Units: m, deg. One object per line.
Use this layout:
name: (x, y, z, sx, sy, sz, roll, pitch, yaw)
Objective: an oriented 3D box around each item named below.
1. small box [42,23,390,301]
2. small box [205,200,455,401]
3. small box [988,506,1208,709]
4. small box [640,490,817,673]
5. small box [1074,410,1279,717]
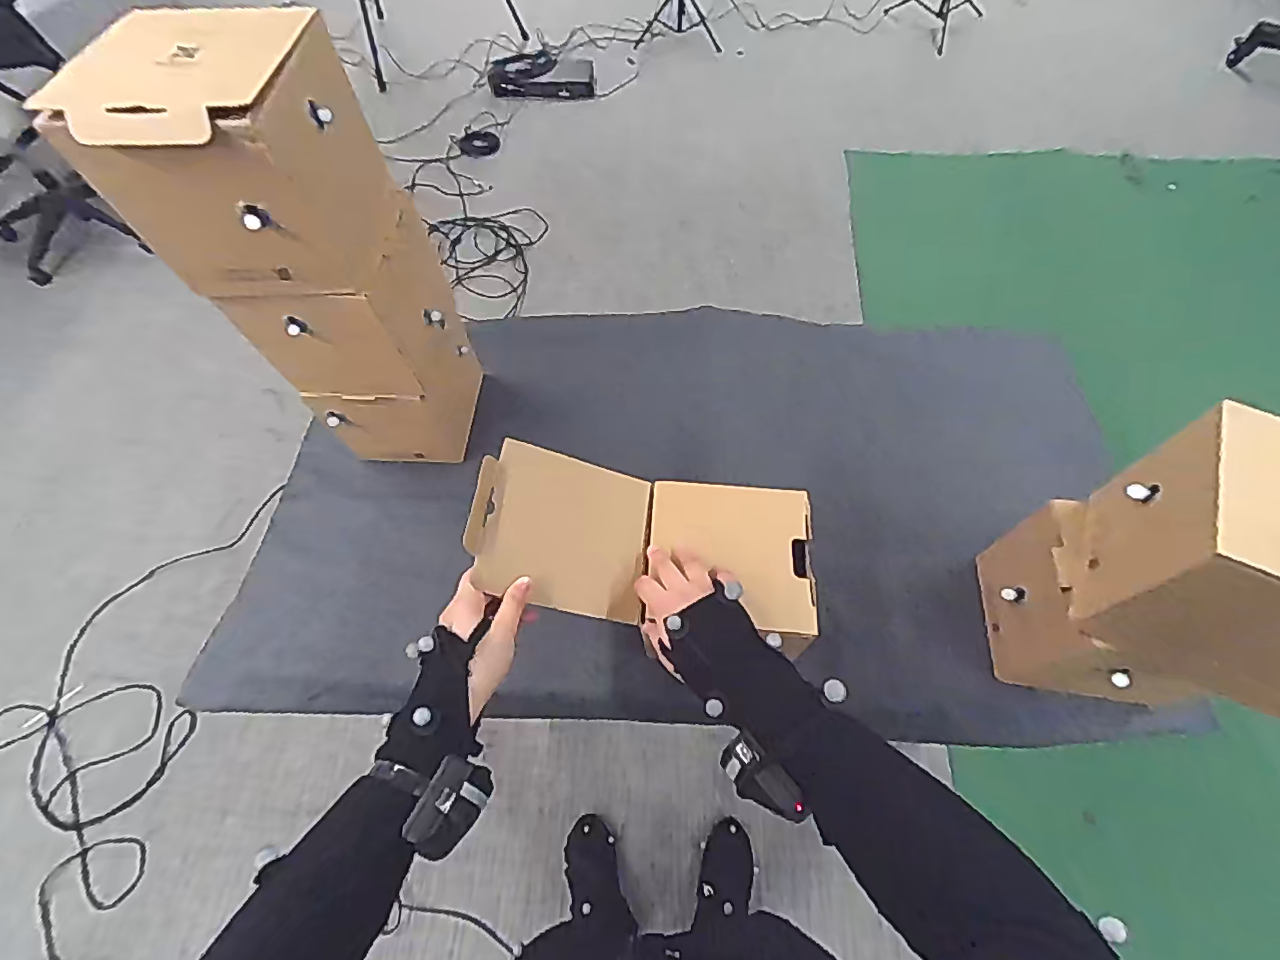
small box: (-0.361, -0.286, 0.508, 0.168, 0.176, 0.179, -1, 61, 0)
small box: (-0.349, -0.210, 0.650, 0.179, 0.176, 0.168, 2, 63, 3)
small box: (0.523, 0.148, 0.607, 0.179, 0.176, 0.168, 7, 59, 7)
small box: (0.098, 0.126, 0.639, 0.179, 0.176, 0.168, 2, 61, 6)
small box: (0.520, 0.077, 0.459, 0.179, 0.176, 0.168, 26, 62, 16)
